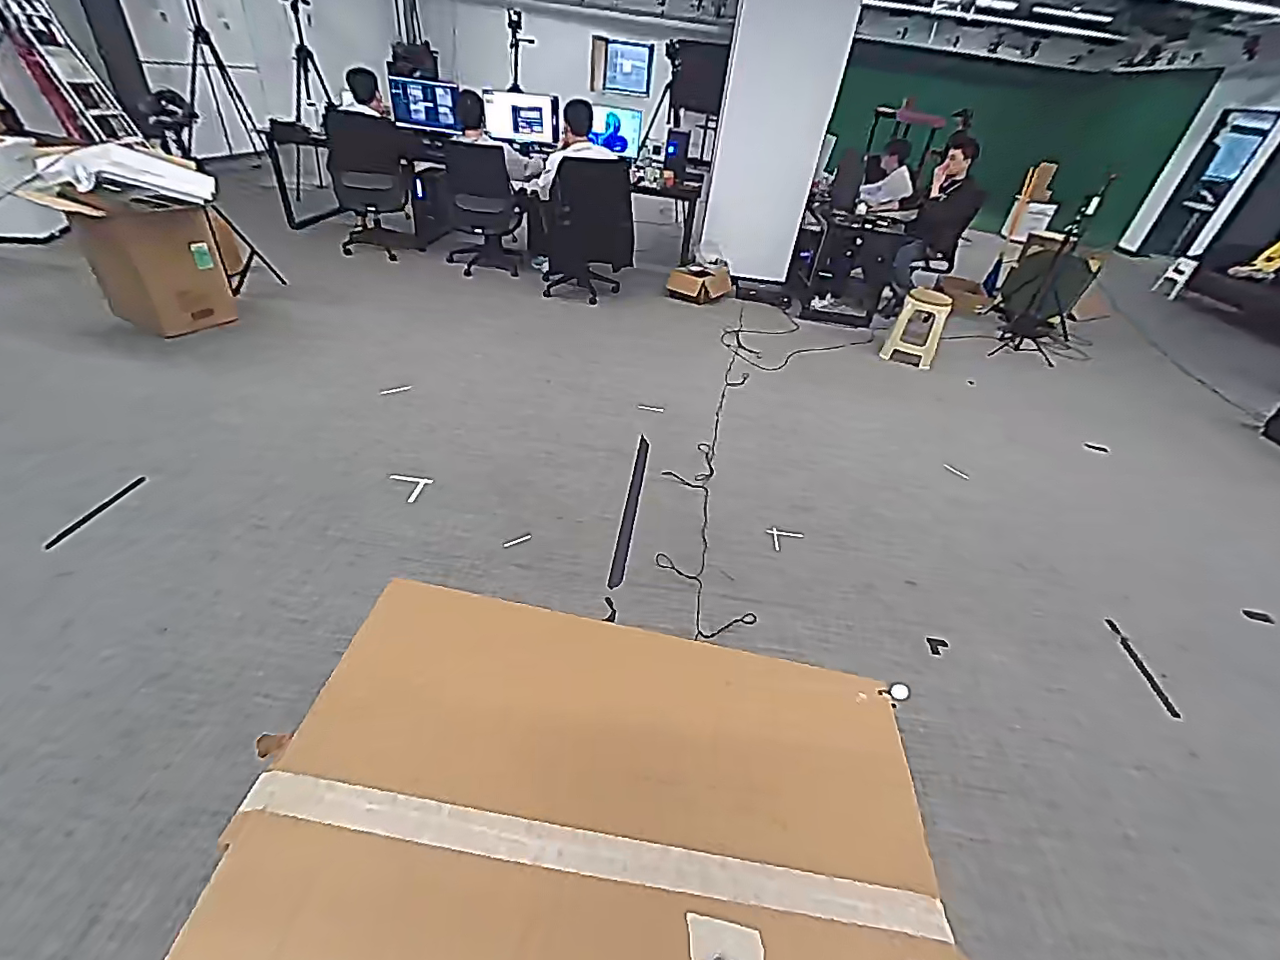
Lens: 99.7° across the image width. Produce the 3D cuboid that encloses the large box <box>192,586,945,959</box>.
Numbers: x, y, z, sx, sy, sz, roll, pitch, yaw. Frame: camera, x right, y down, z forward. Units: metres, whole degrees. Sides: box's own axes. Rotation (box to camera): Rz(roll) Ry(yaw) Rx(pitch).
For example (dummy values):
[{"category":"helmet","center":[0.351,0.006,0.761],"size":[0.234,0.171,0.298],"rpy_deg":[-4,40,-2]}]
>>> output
[{"category":"large box","center":[-0.044,0.332,0.420],"size":[0.408,0.320,0.320],"rpy_deg":[14,41,-3]}]
